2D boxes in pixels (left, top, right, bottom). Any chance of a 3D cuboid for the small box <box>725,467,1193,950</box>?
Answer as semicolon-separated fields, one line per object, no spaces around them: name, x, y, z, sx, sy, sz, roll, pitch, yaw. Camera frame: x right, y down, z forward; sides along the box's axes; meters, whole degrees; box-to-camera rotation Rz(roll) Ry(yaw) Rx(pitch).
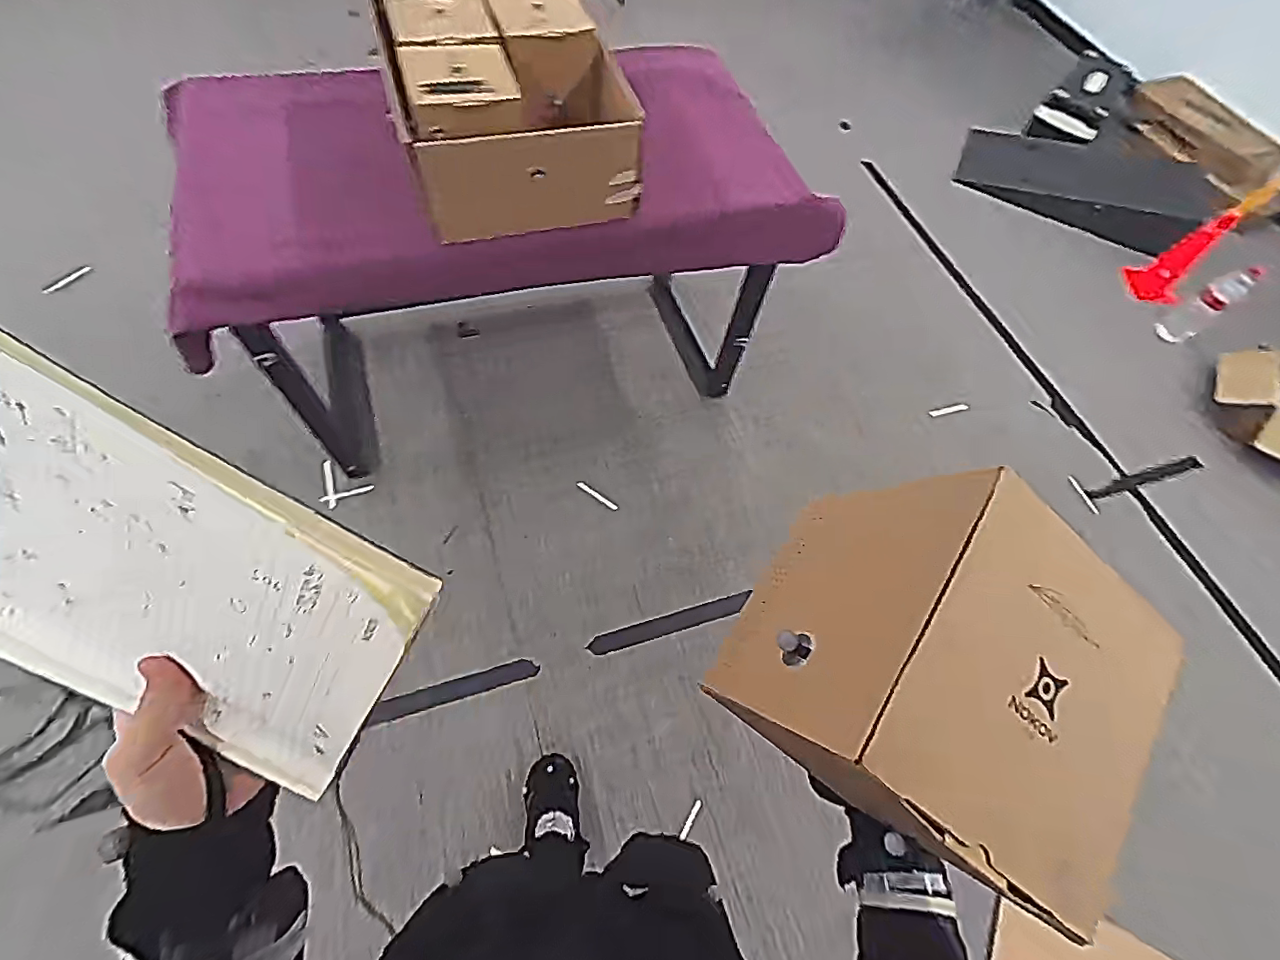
small box;0.179;0.119;0.344;0.168;0.176;0.179;40;71;-10
